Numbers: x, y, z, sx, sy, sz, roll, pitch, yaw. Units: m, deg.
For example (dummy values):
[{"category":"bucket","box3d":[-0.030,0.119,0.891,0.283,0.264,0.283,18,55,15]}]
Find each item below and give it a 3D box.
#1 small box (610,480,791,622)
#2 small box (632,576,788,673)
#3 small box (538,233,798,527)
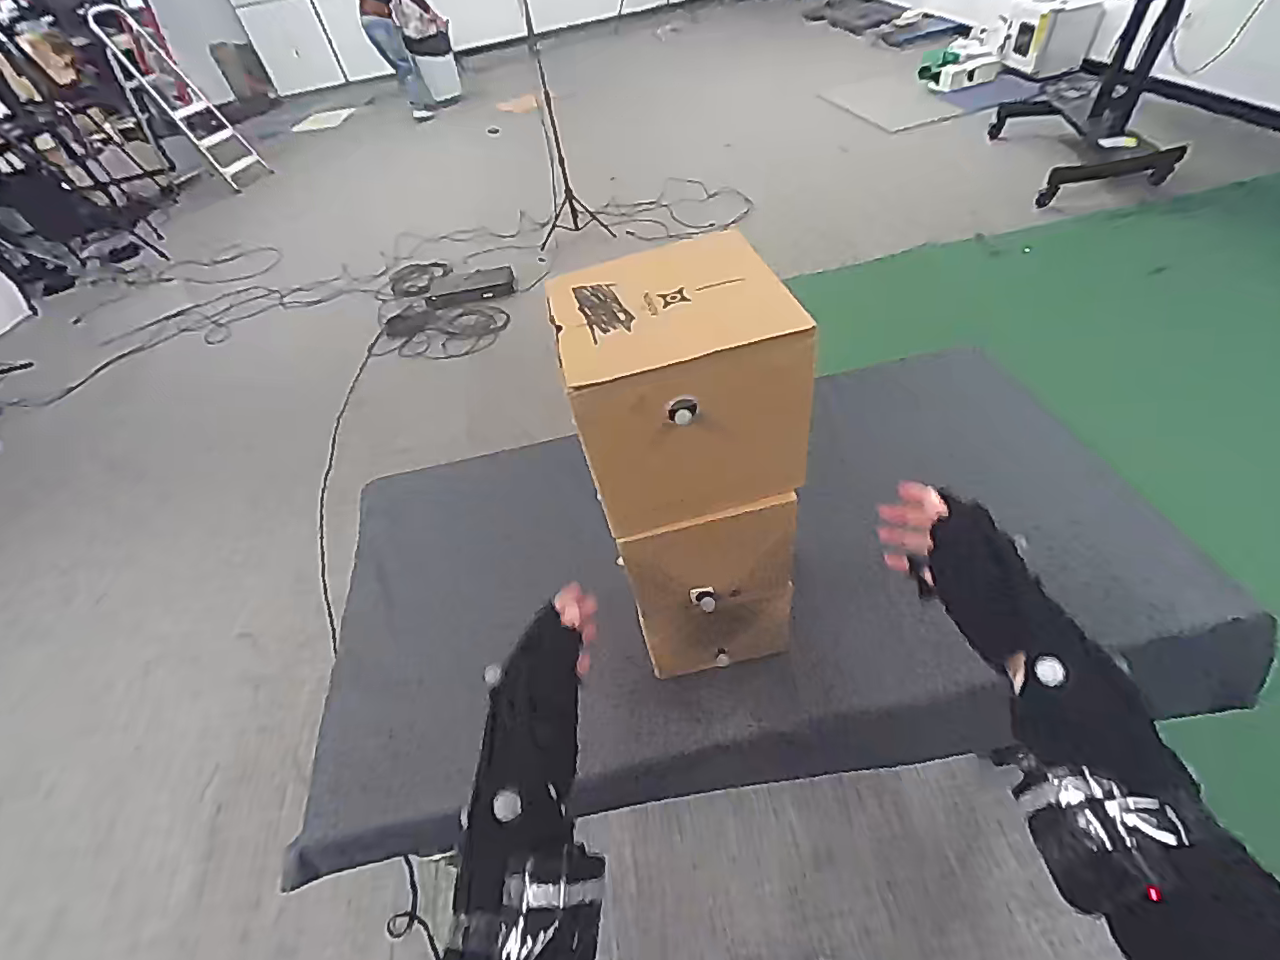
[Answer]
[{"category":"small box","box3d":[0.054,0.027,0.592,0.168,0.176,0.179,-15,49,1]},{"category":"small box","box3d":[0.080,0.132,0.713,0.179,0.176,0.168,-13,48,0]},{"category":"small box","box3d":[0.024,-0.082,0.472,0.179,0.176,0.168,-15,48,-1]}]
